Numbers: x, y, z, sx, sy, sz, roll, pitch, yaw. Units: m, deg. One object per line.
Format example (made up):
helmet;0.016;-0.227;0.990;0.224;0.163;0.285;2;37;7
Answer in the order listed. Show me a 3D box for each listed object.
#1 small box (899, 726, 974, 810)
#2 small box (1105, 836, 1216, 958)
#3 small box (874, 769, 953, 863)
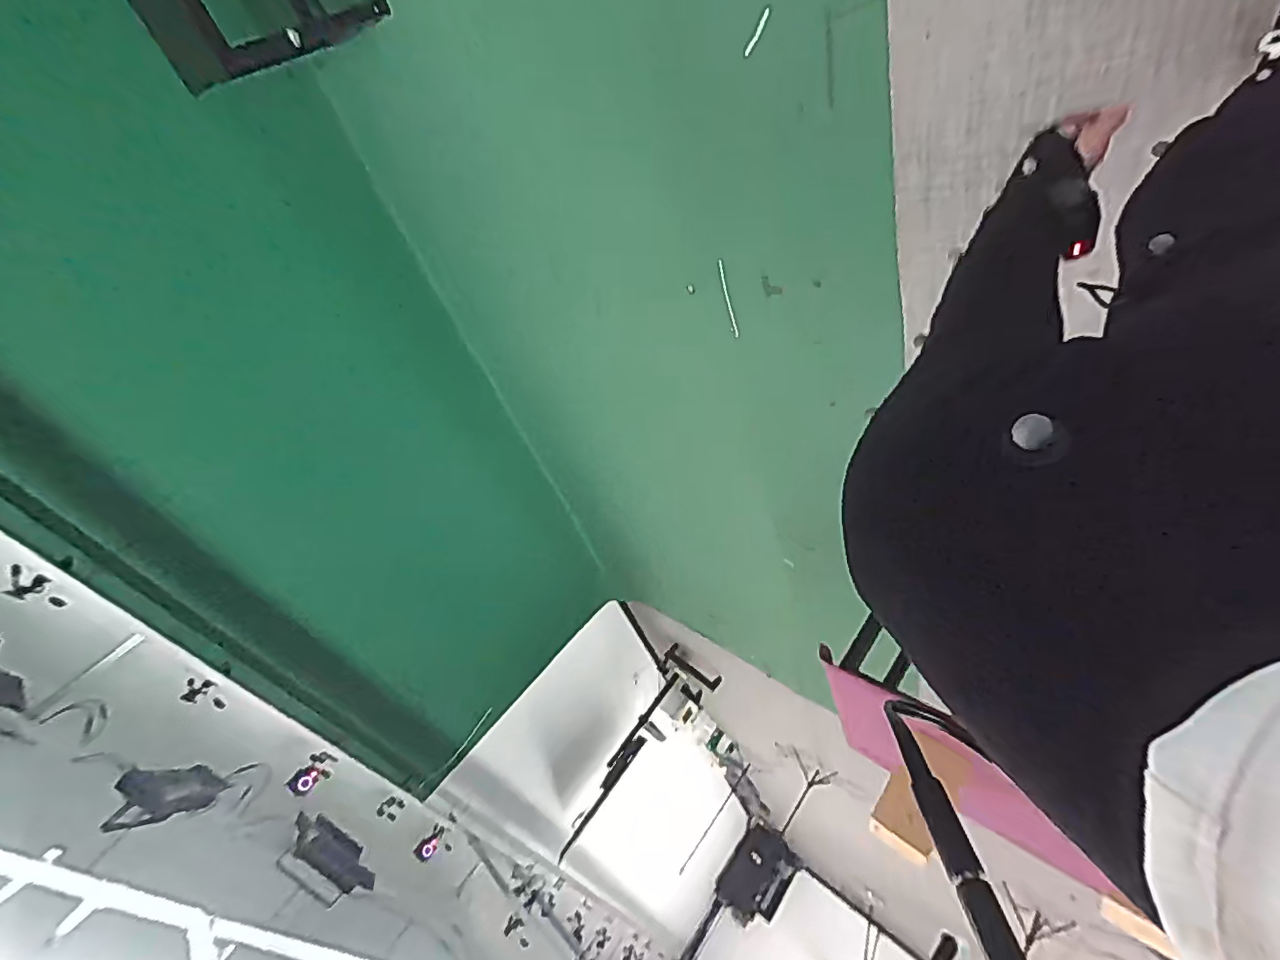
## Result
small box;0.969;0.952;1.781;0.179;0.176;0.168;25;149;35
small box;1.340;1.063;1.396;0.179;0.176;0.168;13;142;47
small box;0.866;1.058;1.712;0.179;0.176;0.168;22;147;36
